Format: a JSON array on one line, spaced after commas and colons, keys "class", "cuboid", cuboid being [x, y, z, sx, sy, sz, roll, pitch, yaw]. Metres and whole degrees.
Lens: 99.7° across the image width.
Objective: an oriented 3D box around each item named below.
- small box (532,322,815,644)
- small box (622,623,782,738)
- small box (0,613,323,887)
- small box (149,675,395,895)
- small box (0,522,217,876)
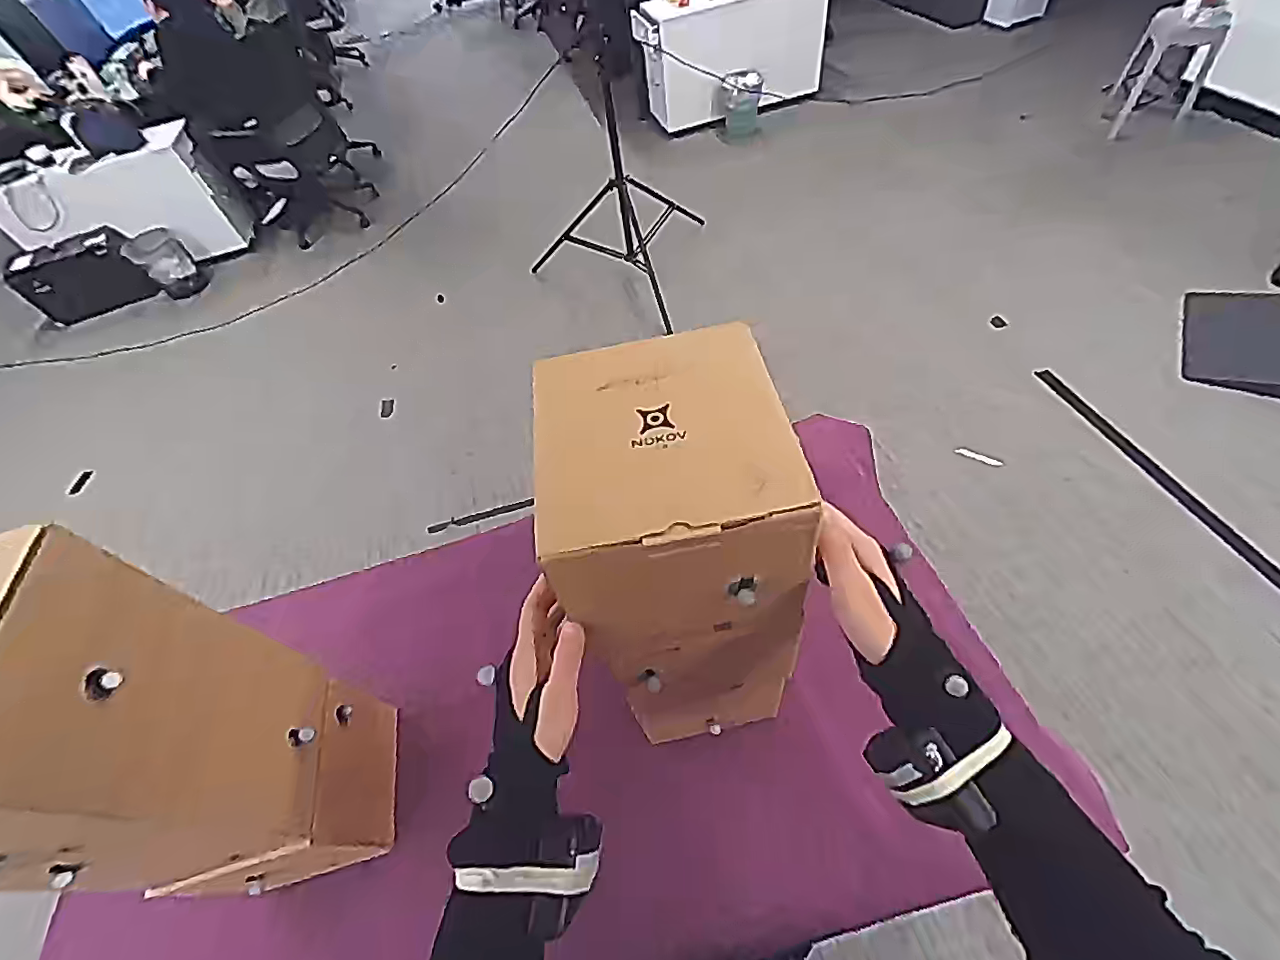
[{"class": "small box", "cuboid": [0.020, 0.011, 0.416, 0.168, 0.176, 0.179, -11, 51, 0]}, {"class": "small box", "cuboid": [0.066, 0.201, 0.678, 0.168, 0.176, 0.179, -13, 53, 1]}, {"class": "small box", "cuboid": [-0.433, 0.259, 0.515, 0.168, 0.176, 0.179, -17, 52, -3]}, {"class": "small box", "cuboid": [-0.410, 0.361, 0.641, 0.168, 0.176, 0.179, -16, 52, -3]}, {"class": "small box", "cuboid": [-0.451, 0.162, 0.383, 0.168, 0.176, 0.179, -16, 53, -3]}]
